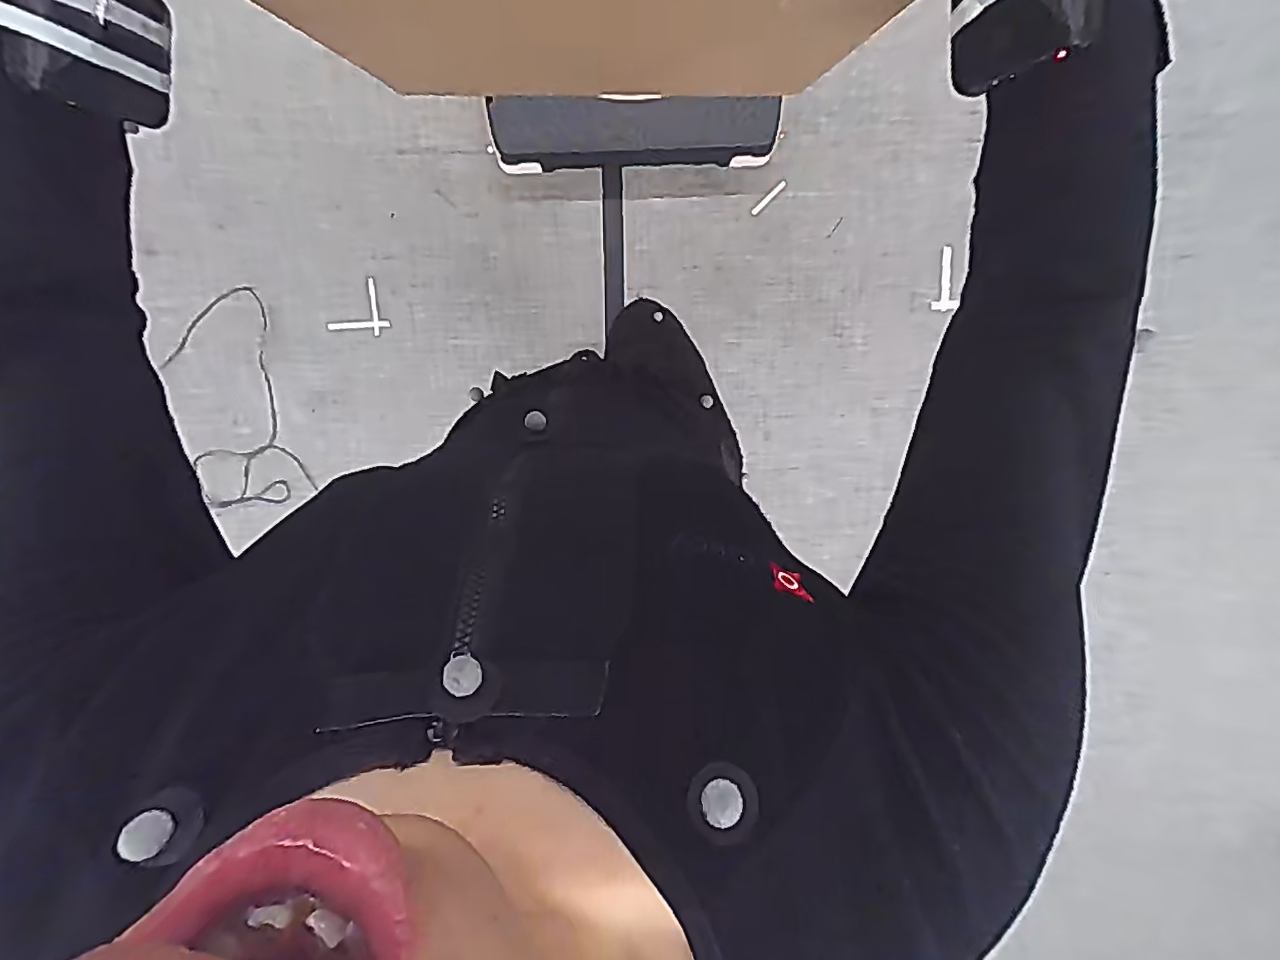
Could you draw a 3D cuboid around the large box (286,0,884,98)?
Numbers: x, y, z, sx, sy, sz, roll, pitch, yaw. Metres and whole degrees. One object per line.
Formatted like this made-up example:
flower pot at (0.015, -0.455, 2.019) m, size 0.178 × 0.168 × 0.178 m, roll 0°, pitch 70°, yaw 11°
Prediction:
large box at (-0.035, -0.472, 0.348) m, size 0.408 × 0.320 × 0.320 m, roll -2°, pitch 114°, yaw -1°
